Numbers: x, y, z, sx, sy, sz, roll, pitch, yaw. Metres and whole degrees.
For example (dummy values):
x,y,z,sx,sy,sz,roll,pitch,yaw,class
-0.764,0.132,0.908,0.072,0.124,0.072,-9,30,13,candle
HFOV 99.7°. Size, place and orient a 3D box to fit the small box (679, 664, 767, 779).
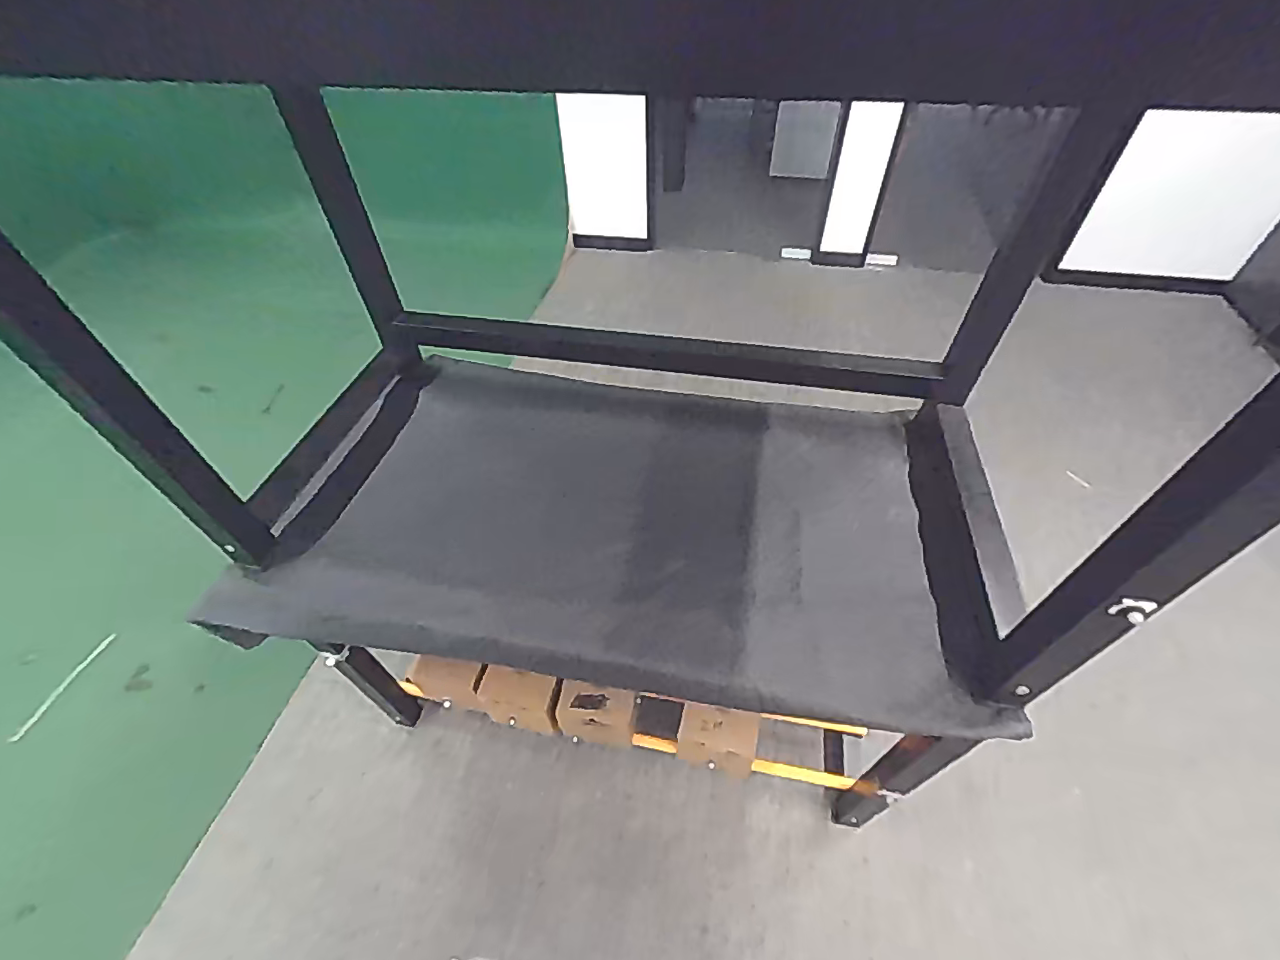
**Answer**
x,y,z,sx,sy,sz,roll,pitch,yaw,class
0.187,0.557,1.243,0.168,0.176,0.179,11,51,13,small box
